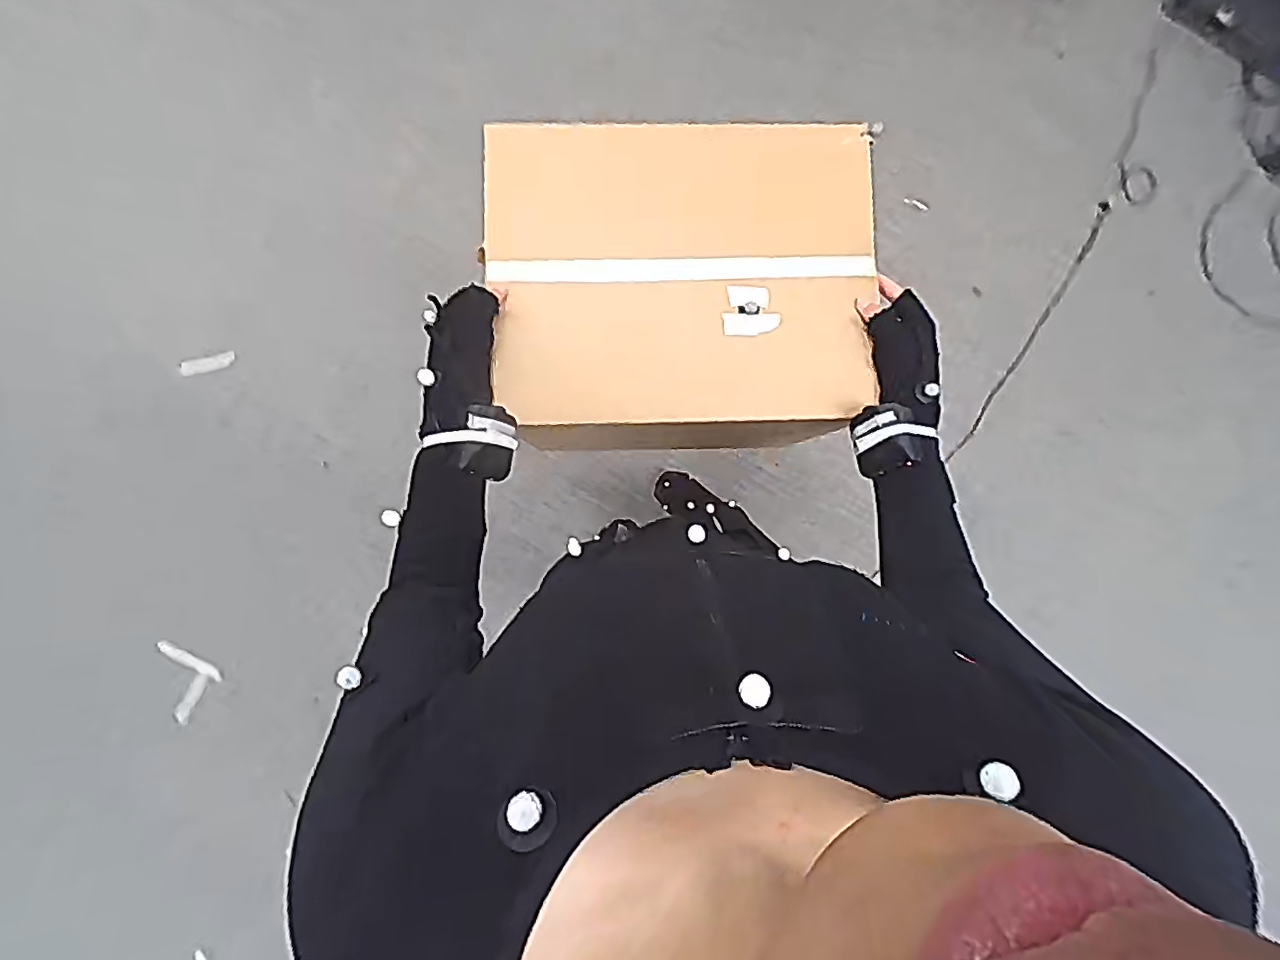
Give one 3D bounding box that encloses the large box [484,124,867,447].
[{"bbox_3d":[0.031,-0.222,0.727,0.408,0.320,0.320,-3,89,-3],"label":"large box"}]
